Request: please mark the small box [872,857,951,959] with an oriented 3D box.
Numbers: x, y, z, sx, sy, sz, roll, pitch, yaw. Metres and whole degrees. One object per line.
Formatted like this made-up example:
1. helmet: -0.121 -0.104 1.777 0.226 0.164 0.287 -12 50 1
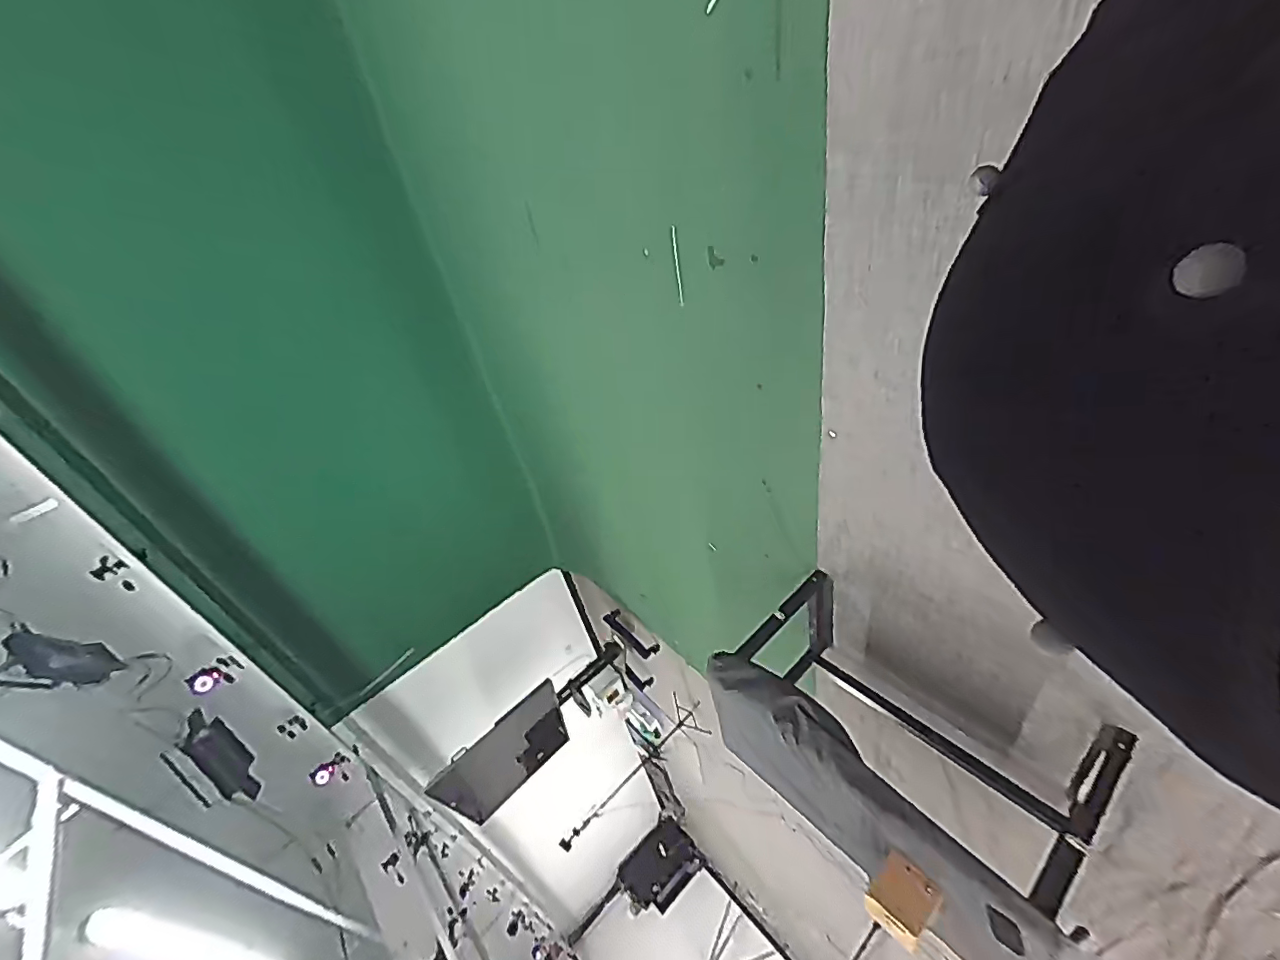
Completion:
1. small box: 0.850 1.335 1.695 0.168 0.176 0.179 27 144 44
